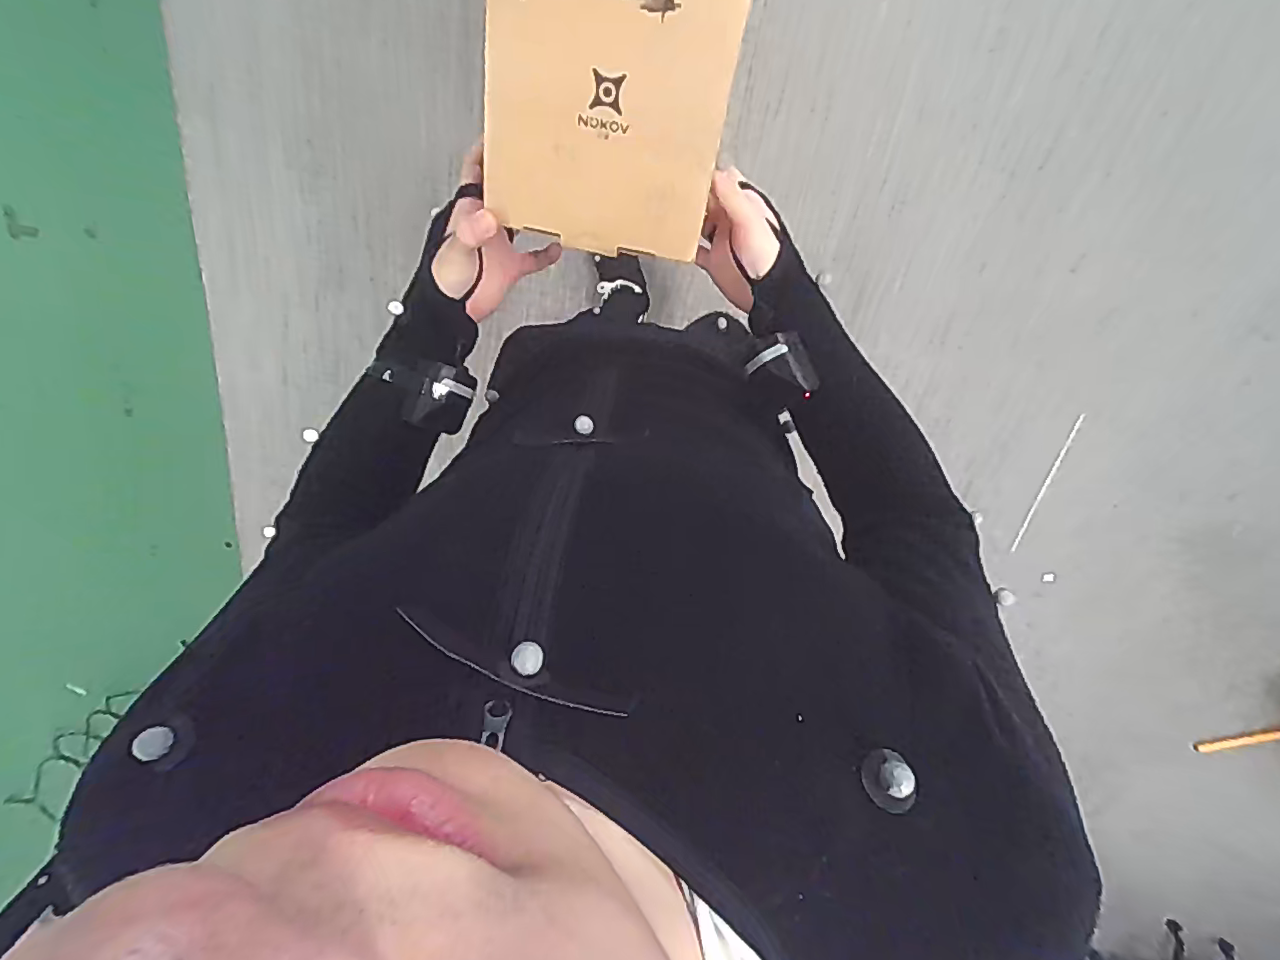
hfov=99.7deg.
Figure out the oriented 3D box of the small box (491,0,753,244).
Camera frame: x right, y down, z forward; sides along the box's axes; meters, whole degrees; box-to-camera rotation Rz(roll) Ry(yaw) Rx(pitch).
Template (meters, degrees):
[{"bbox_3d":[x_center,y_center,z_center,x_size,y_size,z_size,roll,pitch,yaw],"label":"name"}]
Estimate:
[{"bbox_3d":[-0.012,-0.308,0.432,0.168,0.176,0.179,10,122,-1],"label":"small box"}]
